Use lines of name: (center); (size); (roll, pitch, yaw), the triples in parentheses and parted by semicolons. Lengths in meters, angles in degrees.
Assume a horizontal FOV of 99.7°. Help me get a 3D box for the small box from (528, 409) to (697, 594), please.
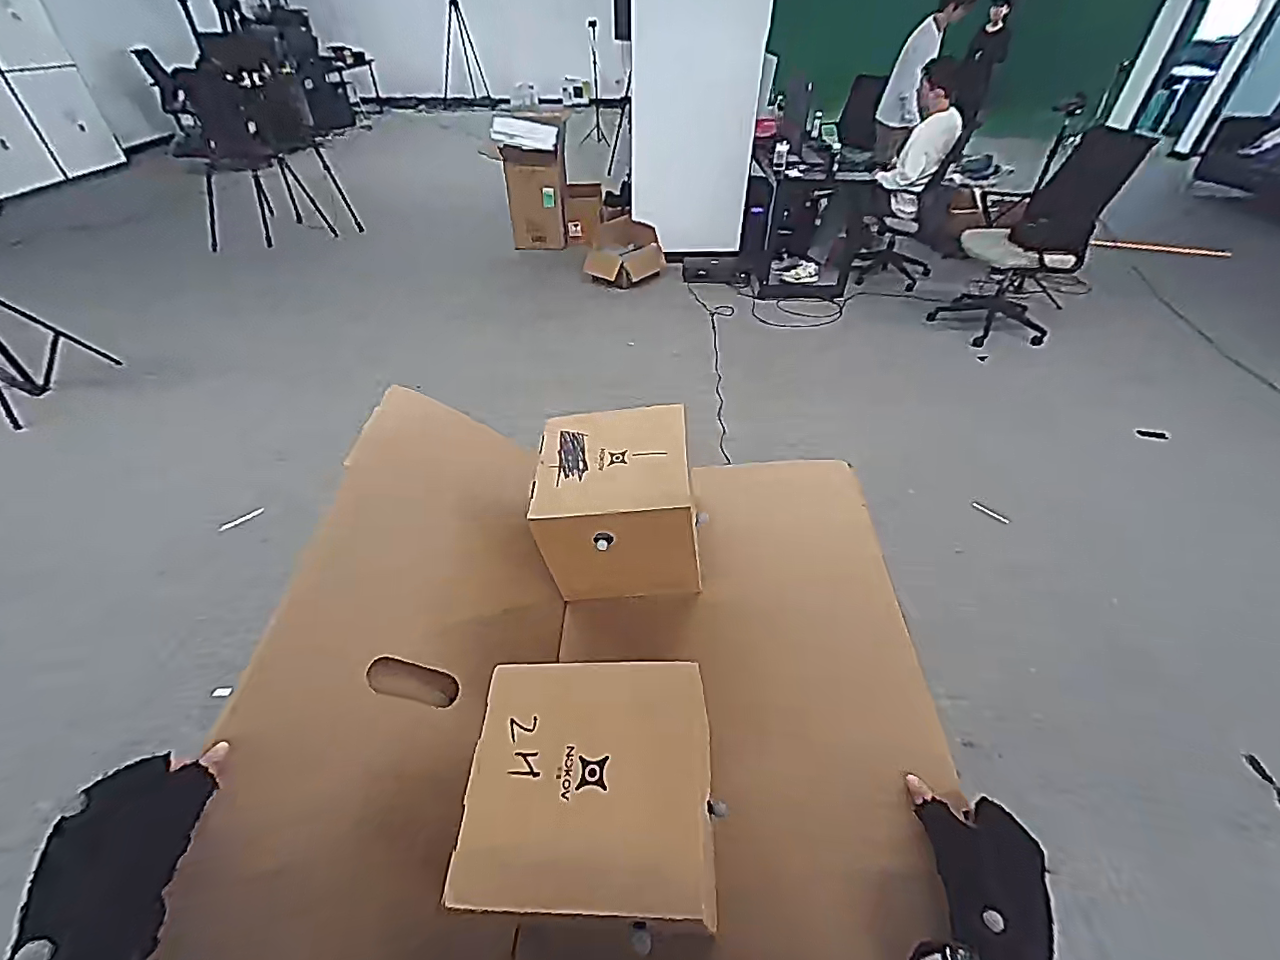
small box: (-0.024, 0.033, 0.688); (0.179, 0.176, 0.168); (-5, 47, 6)

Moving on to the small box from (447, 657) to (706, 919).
small box: (-0.032, 0.268, 0.471); (0.179, 0.176, 0.168); (-3, 47, 9)
